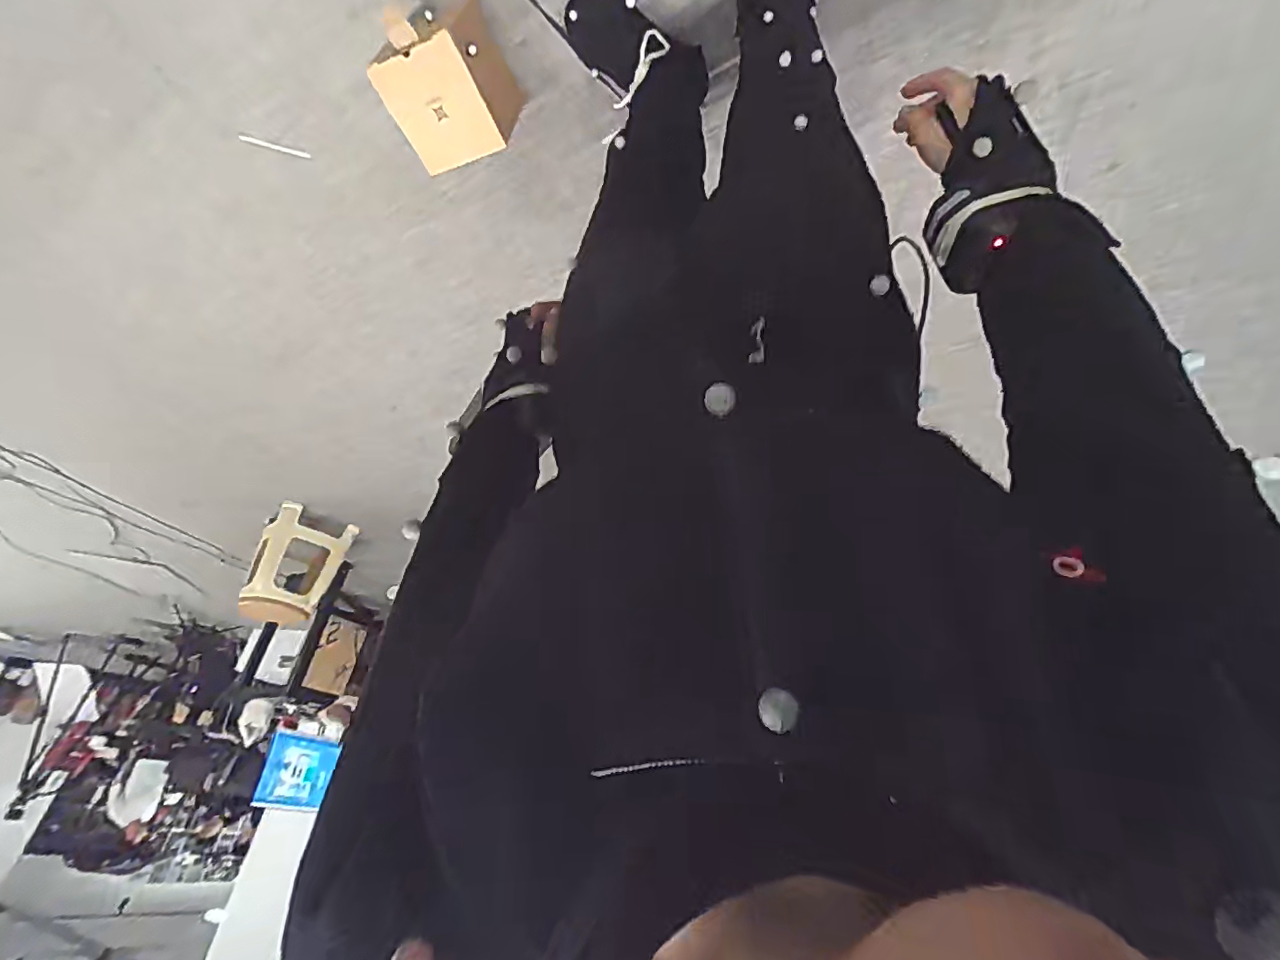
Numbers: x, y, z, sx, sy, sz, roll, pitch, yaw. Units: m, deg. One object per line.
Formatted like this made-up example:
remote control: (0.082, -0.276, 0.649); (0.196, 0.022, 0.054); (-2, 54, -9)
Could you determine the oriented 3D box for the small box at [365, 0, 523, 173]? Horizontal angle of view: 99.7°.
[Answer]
small box: (-0.324, -0.680, 0.935); (0.168, 0.176, 0.179); (-7, 144, 19)
